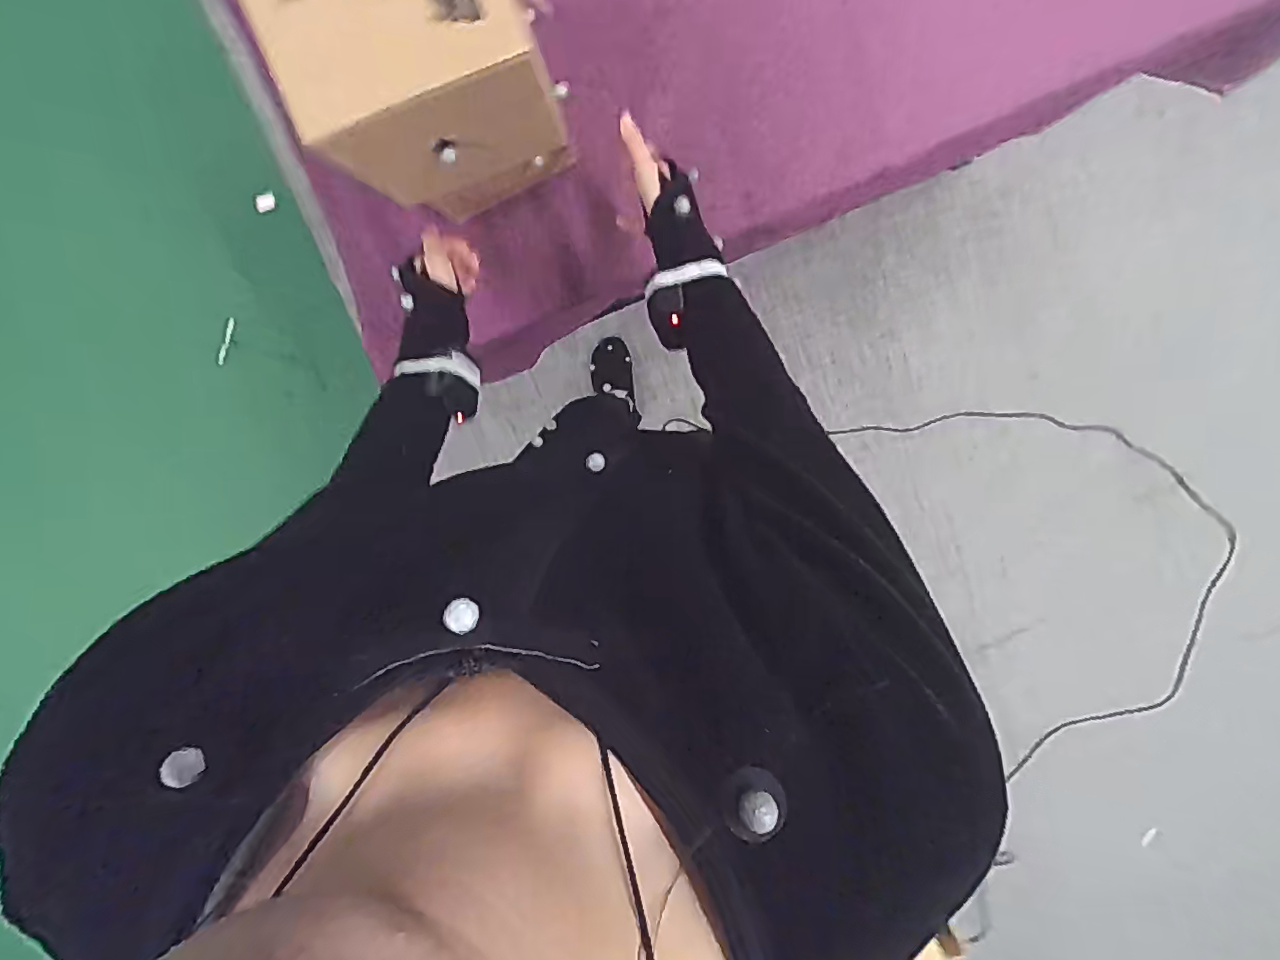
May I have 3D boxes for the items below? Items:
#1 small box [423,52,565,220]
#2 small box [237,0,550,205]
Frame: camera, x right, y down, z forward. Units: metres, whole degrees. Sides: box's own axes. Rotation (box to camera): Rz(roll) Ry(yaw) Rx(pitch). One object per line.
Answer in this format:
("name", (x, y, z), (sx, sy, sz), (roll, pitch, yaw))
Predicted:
("small box", (-0.194, -0.418, 0.597), (0.179, 0.176, 0.168), (-23, 102, 7))
("small box", (-0.184, -0.354, 0.443), (0.179, 0.176, 0.168), (-18, 103, 7))
